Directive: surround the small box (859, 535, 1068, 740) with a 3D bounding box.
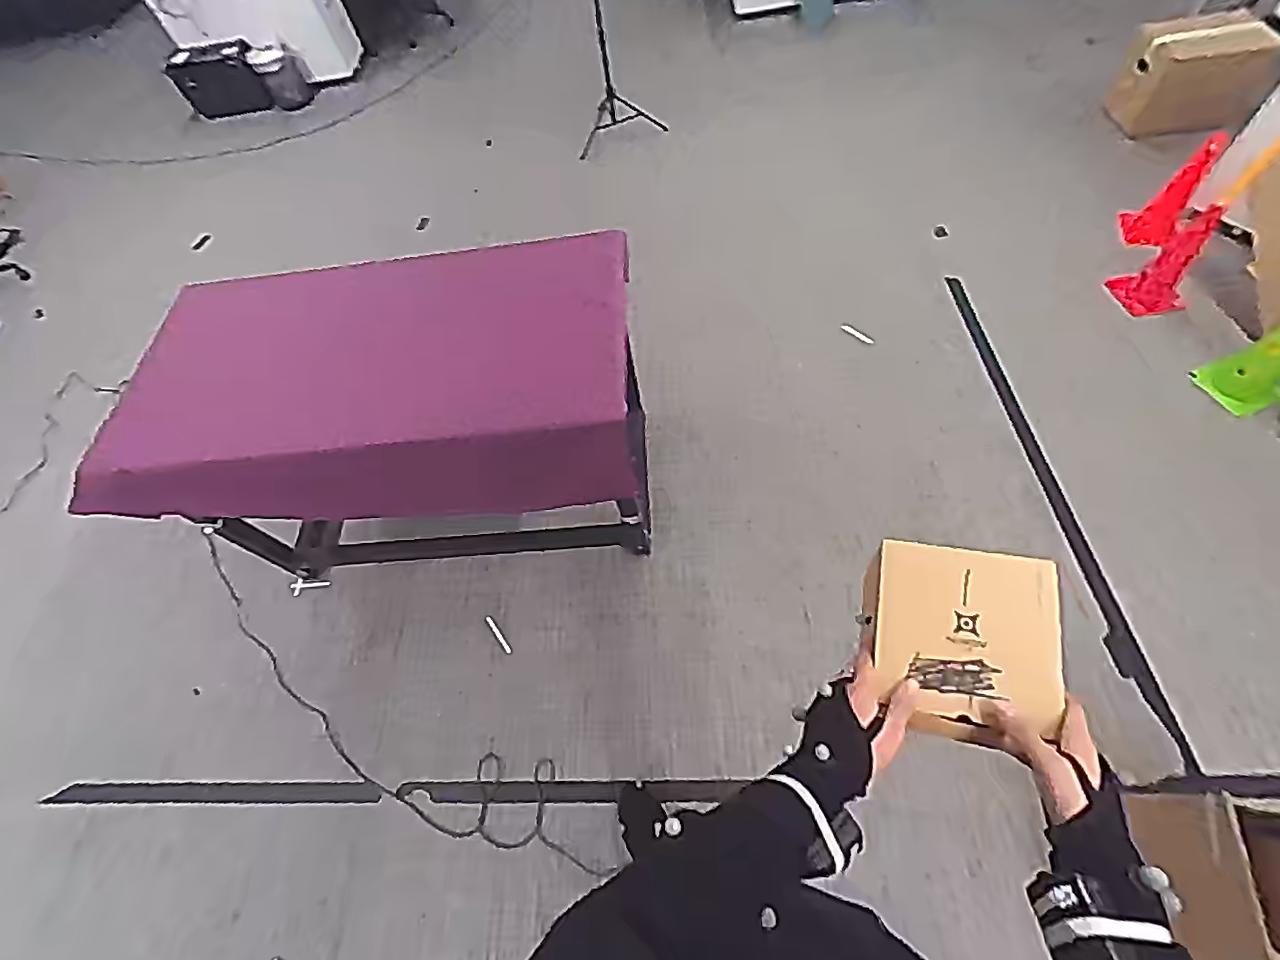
[{"bbox_3d":[0.344,0.178,0.606,0.168,0.176,0.179,5,68,18],"label":"small box"}]
